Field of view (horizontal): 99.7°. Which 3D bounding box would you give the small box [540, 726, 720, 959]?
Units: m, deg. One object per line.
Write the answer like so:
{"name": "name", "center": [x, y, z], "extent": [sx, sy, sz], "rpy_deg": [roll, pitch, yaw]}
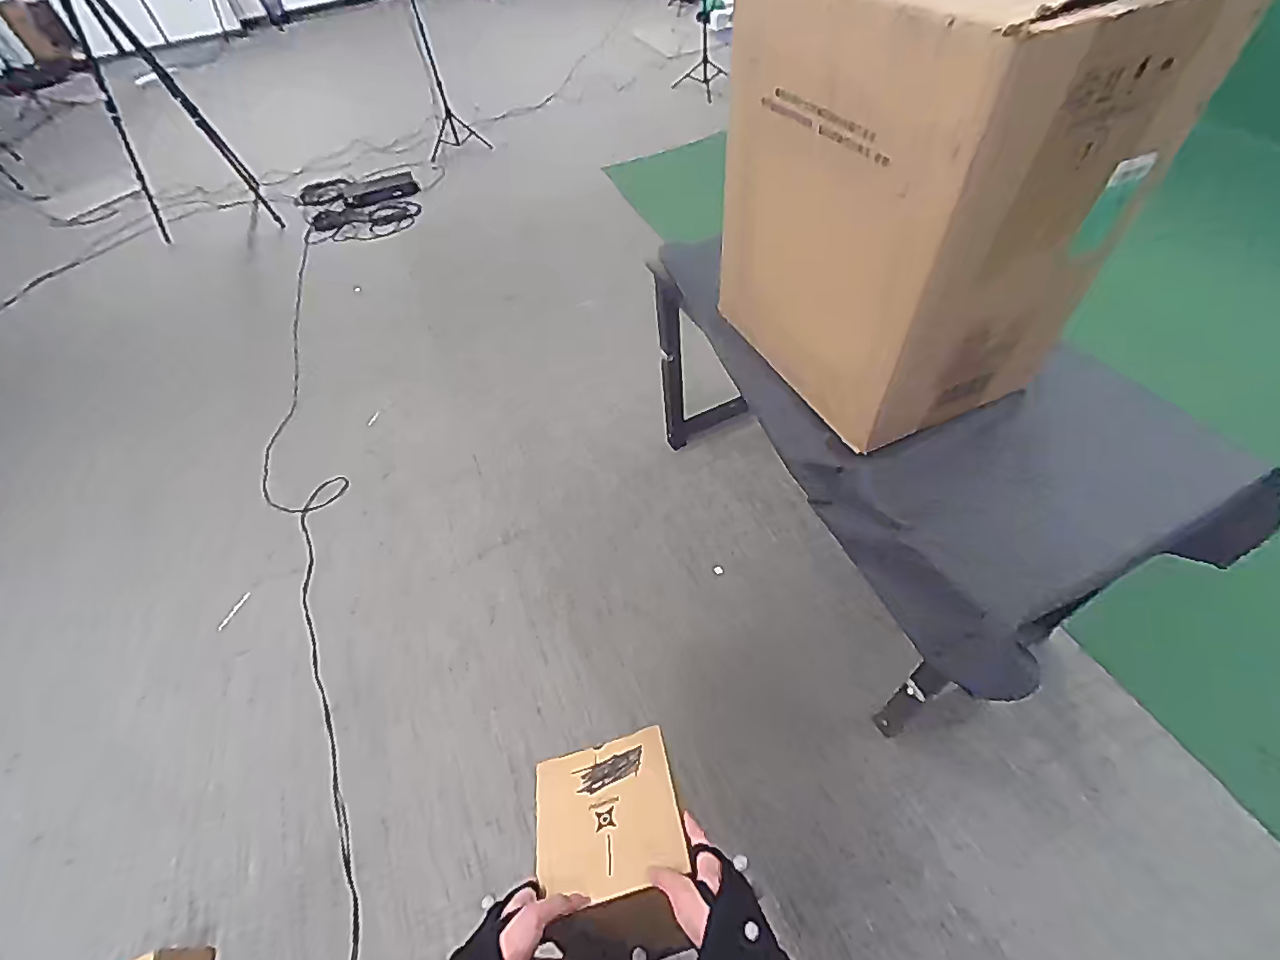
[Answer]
{"name": "small box", "center": [-0.015, 0.443, 0.653], "extent": [0.168, 0.176, 0.179], "rpy_deg": [-18, 29, -1]}
